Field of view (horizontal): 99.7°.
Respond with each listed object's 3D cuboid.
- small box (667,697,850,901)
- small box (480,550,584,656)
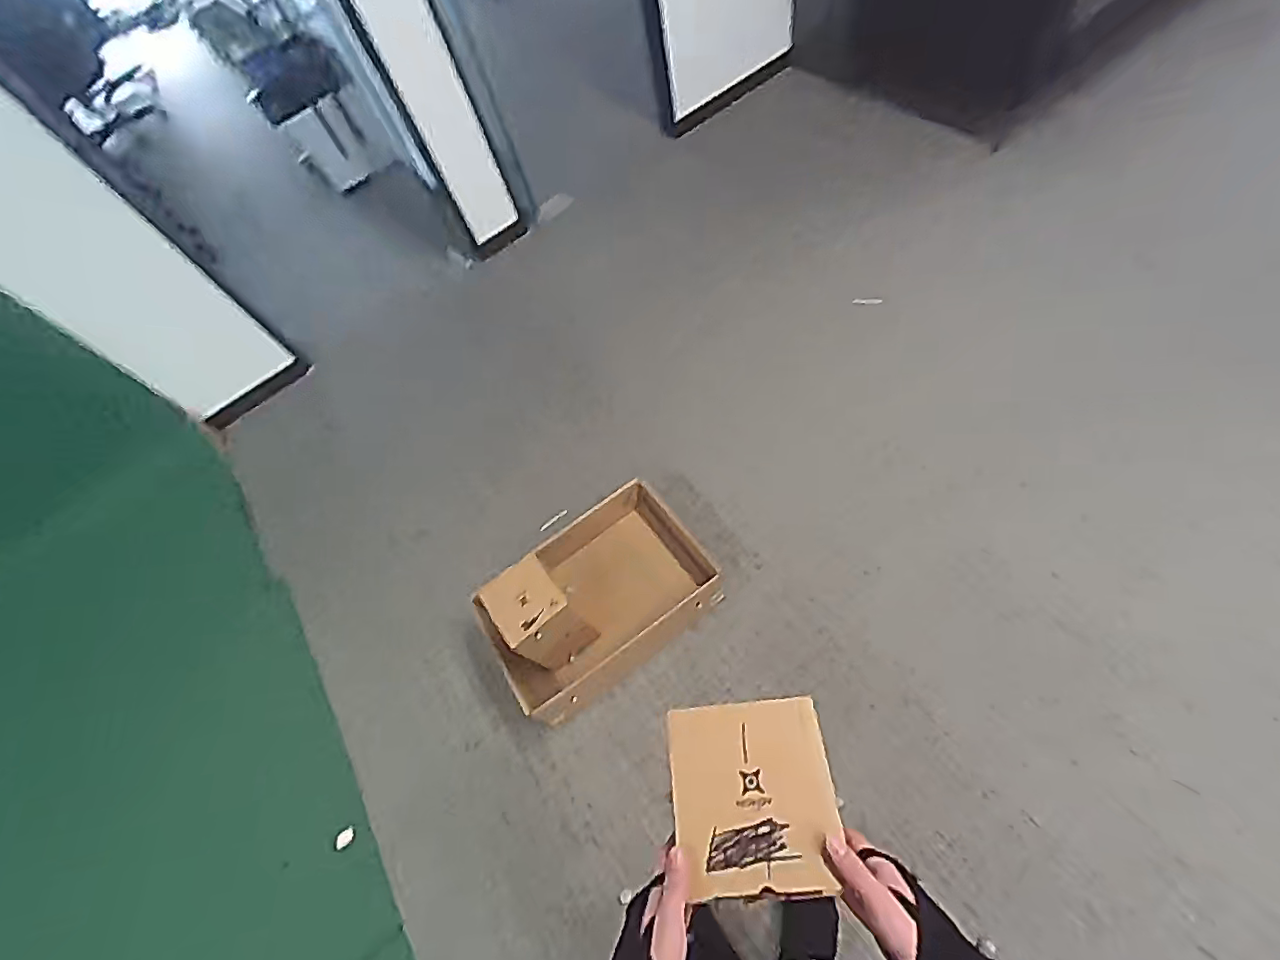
[{"bbox_3d":[0.126,0.366,0.620,0.168,0.176,0.179,-7,53,5],"label":"small box"},{"bbox_3d":[-0.267,0.316,1.362,0.168,0.176,0.179,-38,60,-9],"label":"small box"}]
